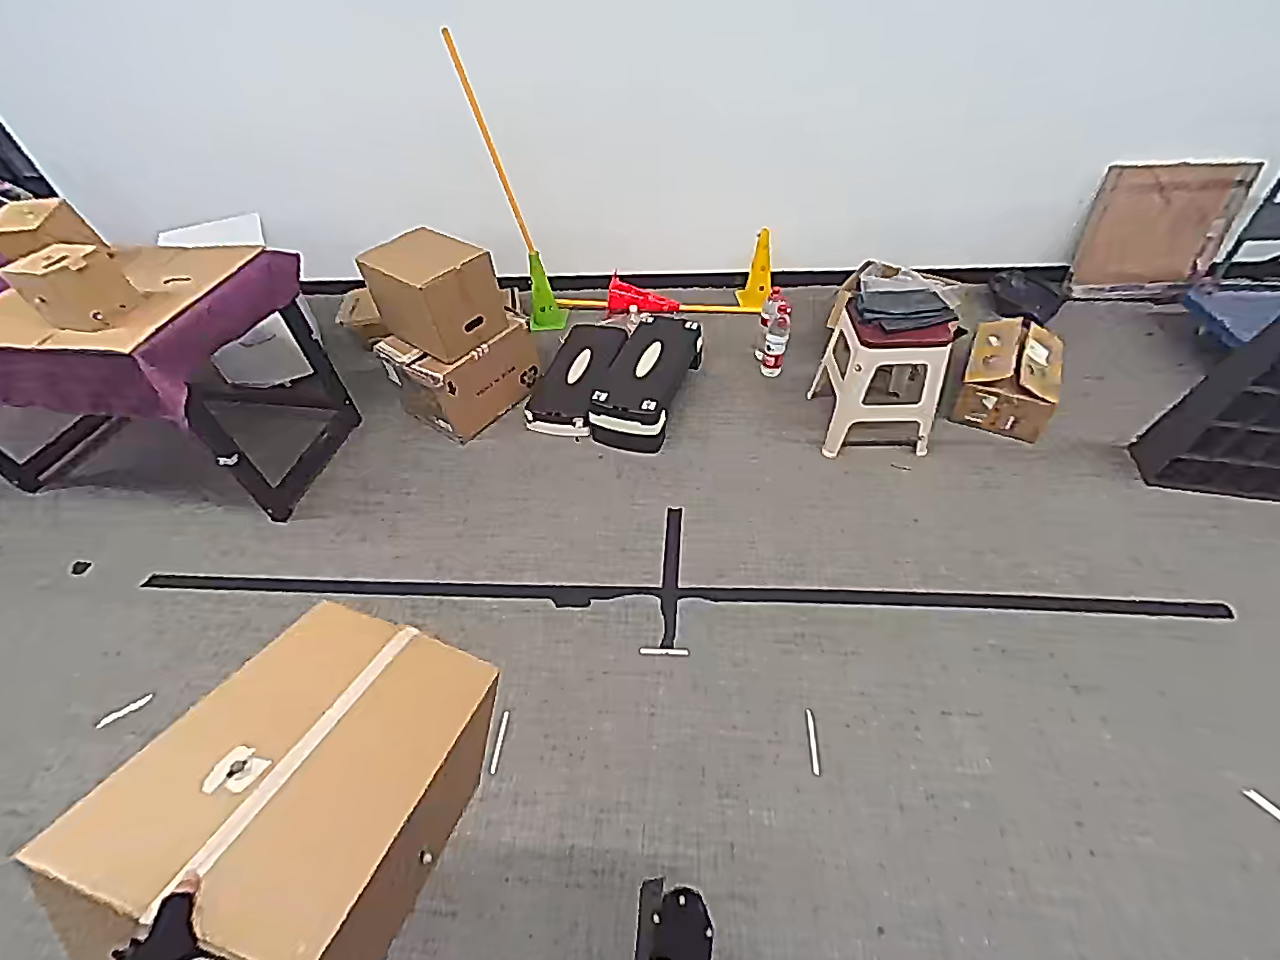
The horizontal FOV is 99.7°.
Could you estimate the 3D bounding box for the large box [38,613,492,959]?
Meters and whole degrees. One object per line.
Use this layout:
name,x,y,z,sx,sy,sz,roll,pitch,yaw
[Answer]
large box,-0.453,0.473,0.765,0.320,0.320,0.408,18,28,5
